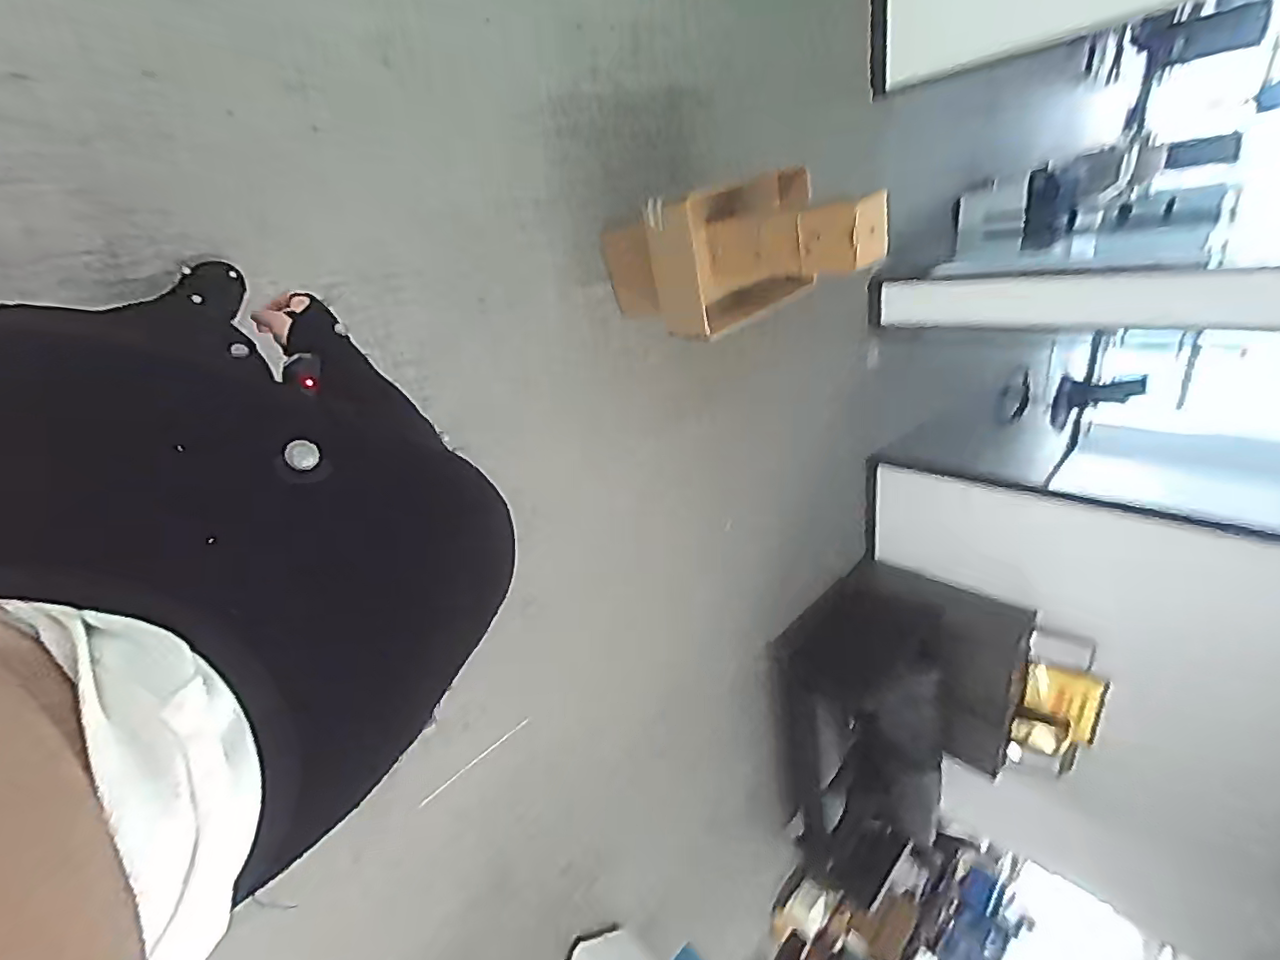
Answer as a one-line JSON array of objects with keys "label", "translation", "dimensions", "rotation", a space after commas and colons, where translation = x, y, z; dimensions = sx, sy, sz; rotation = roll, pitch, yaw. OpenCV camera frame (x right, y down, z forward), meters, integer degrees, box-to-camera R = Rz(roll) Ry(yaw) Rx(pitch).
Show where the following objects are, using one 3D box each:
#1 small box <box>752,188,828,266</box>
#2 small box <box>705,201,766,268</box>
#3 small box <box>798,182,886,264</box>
[{"label": "small box", "translation": [0.443, -0.741, 1.594], "dimensions": [0.179, 0.176, 0.168], "rotation": [-37, 126, -33]}, {"label": "small box", "translation": [0.331, -0.776, 1.707], "dimensions": [0.179, 0.176, 0.168], "rotation": [-34, 124, -33]}, {"label": "small box", "translation": [0.553, -0.702, 1.480], "dimensions": [0.179, 0.176, 0.168], "rotation": [-36, 126, -31]}]
